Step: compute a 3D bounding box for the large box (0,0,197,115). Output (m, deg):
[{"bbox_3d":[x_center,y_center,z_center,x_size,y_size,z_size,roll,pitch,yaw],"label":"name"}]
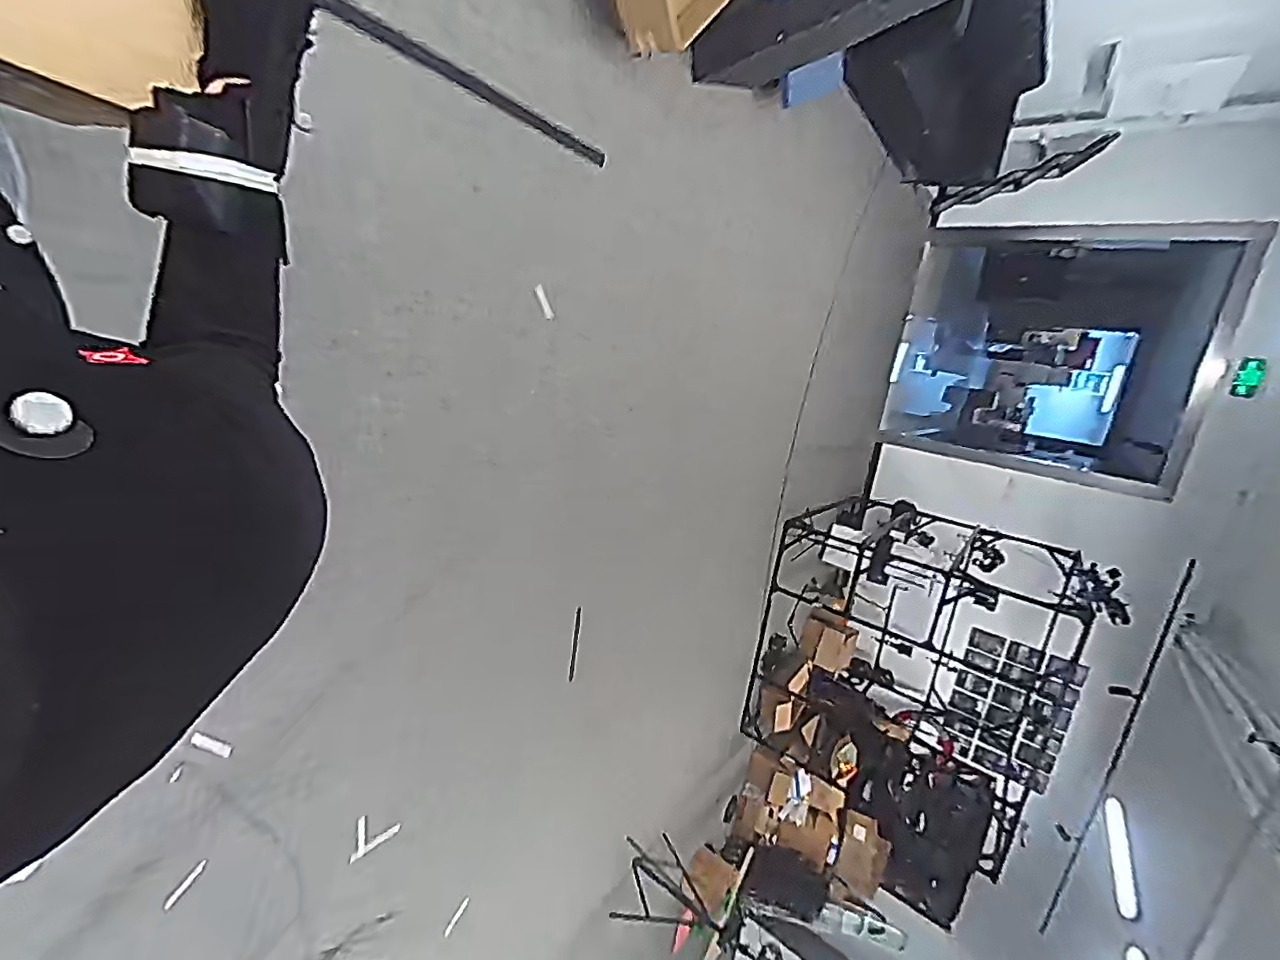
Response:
[{"bbox_3d":[-0.503,-0.429,0.247,0.408,0.320,0.320,-8,118,-57],"label":"large box"}]
